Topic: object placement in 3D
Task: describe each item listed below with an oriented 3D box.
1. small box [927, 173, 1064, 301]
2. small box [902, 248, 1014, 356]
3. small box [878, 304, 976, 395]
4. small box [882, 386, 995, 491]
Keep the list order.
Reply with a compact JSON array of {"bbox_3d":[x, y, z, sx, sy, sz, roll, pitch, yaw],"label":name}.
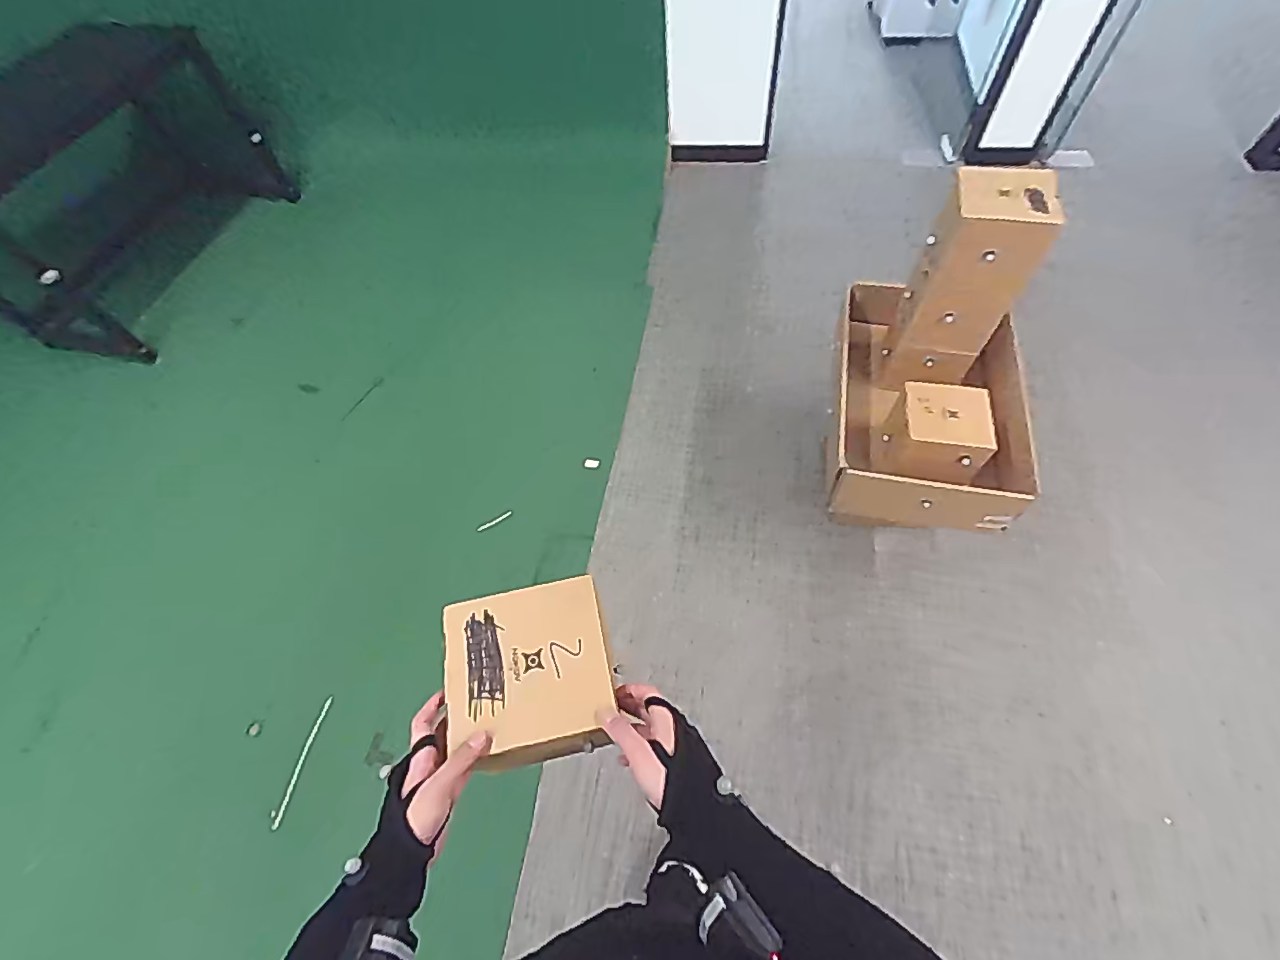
[{"bbox_3d":[0.709,-0.488,1.099,0.179,0.176,0.168,10,61,10],"label":"small box"},{"bbox_3d":[0.718,-0.406,1.241,0.179,0.176,0.168,10,62,11],"label":"small box"},{"bbox_3d":[0.725,-0.321,1.382,0.179,0.176,0.168,12,62,10],"label":"small box"},{"bbox_3d":[0.676,-0.090,1.243,0.179,0.176,0.168,8,59,9],"label":"small box"}]
